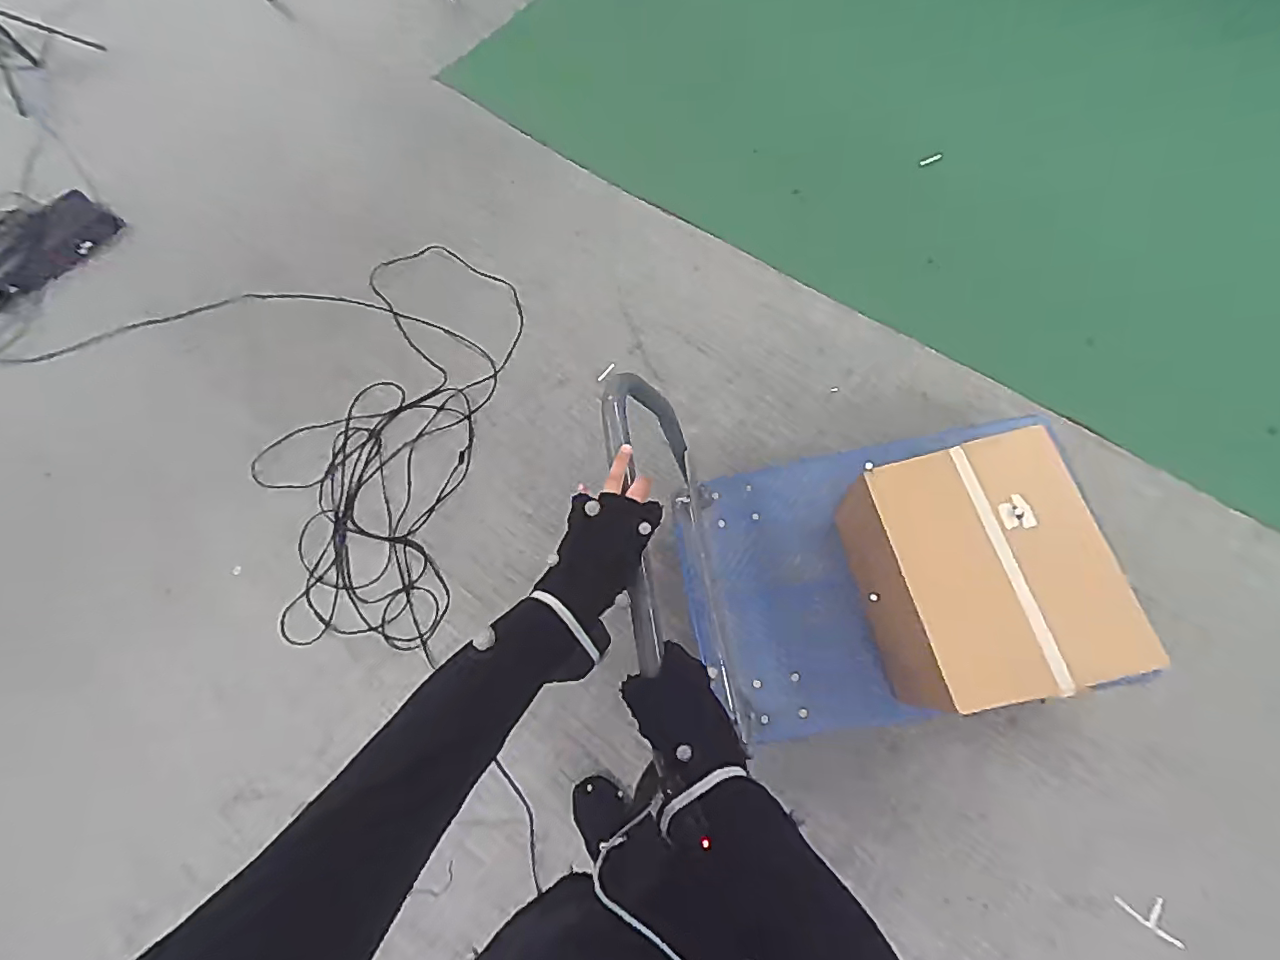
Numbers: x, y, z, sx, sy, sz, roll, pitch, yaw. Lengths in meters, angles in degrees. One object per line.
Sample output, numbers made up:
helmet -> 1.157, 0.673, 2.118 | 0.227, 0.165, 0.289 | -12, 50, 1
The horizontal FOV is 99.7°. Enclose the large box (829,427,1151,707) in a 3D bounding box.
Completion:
large box -> 0.597, 0.175, 1.023 | 0.320, 0.320, 0.408 | -16, 69, 3
